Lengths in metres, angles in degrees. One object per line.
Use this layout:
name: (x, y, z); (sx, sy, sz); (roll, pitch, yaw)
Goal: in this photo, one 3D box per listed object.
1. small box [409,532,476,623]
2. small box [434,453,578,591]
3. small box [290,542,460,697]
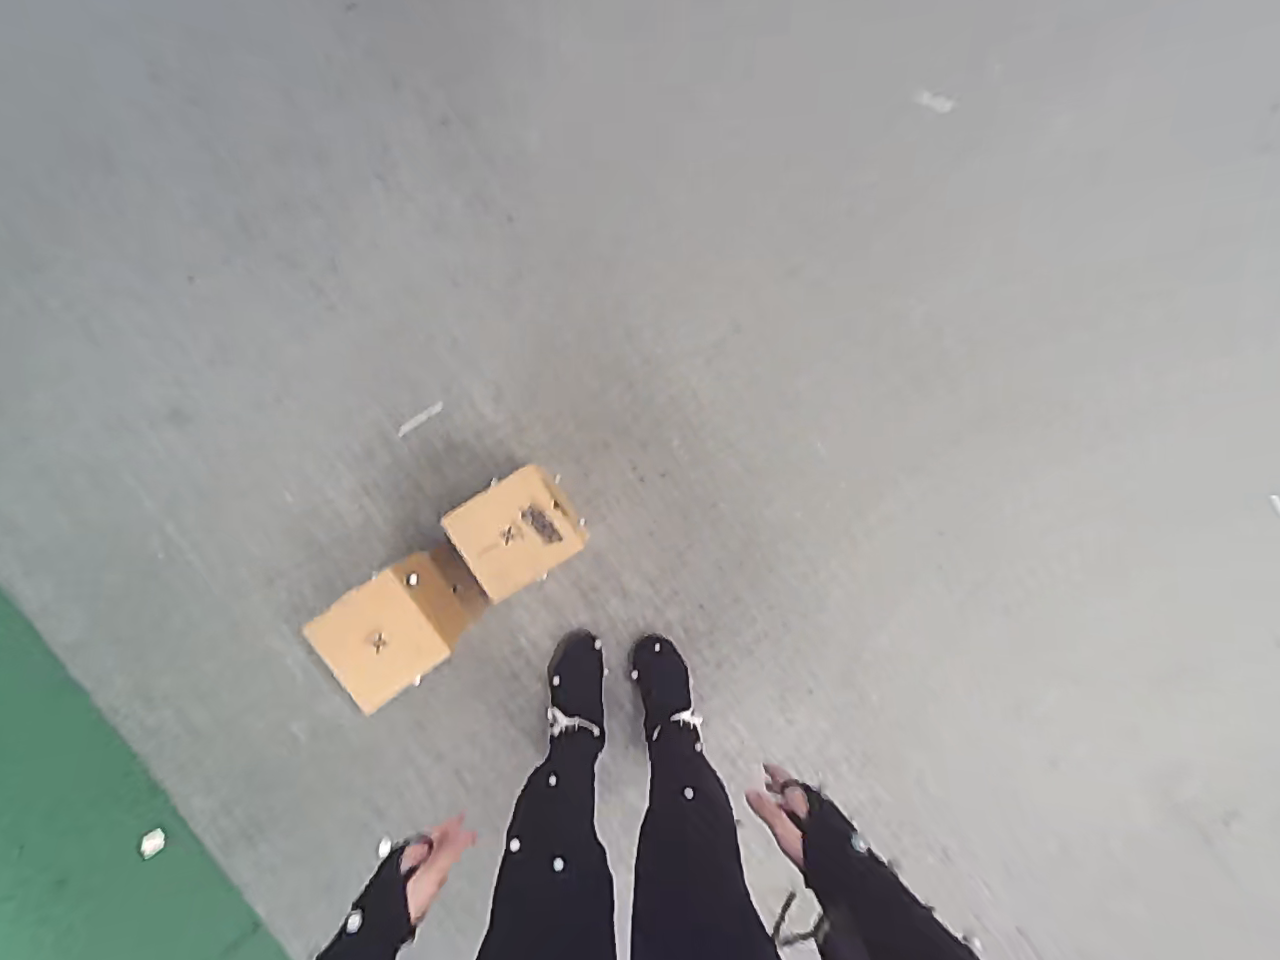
small box: (-0.455, 0.223, 1.090); (0.168, 0.176, 0.179); (-31, 94, -5)
small box: (-0.222, 0.064, 0.944); (0.179, 0.176, 0.168); (-31, 93, -3)
small box: (-0.438, 0.226, 0.929); (0.168, 0.176, 0.179); (-34, 93, -4)
